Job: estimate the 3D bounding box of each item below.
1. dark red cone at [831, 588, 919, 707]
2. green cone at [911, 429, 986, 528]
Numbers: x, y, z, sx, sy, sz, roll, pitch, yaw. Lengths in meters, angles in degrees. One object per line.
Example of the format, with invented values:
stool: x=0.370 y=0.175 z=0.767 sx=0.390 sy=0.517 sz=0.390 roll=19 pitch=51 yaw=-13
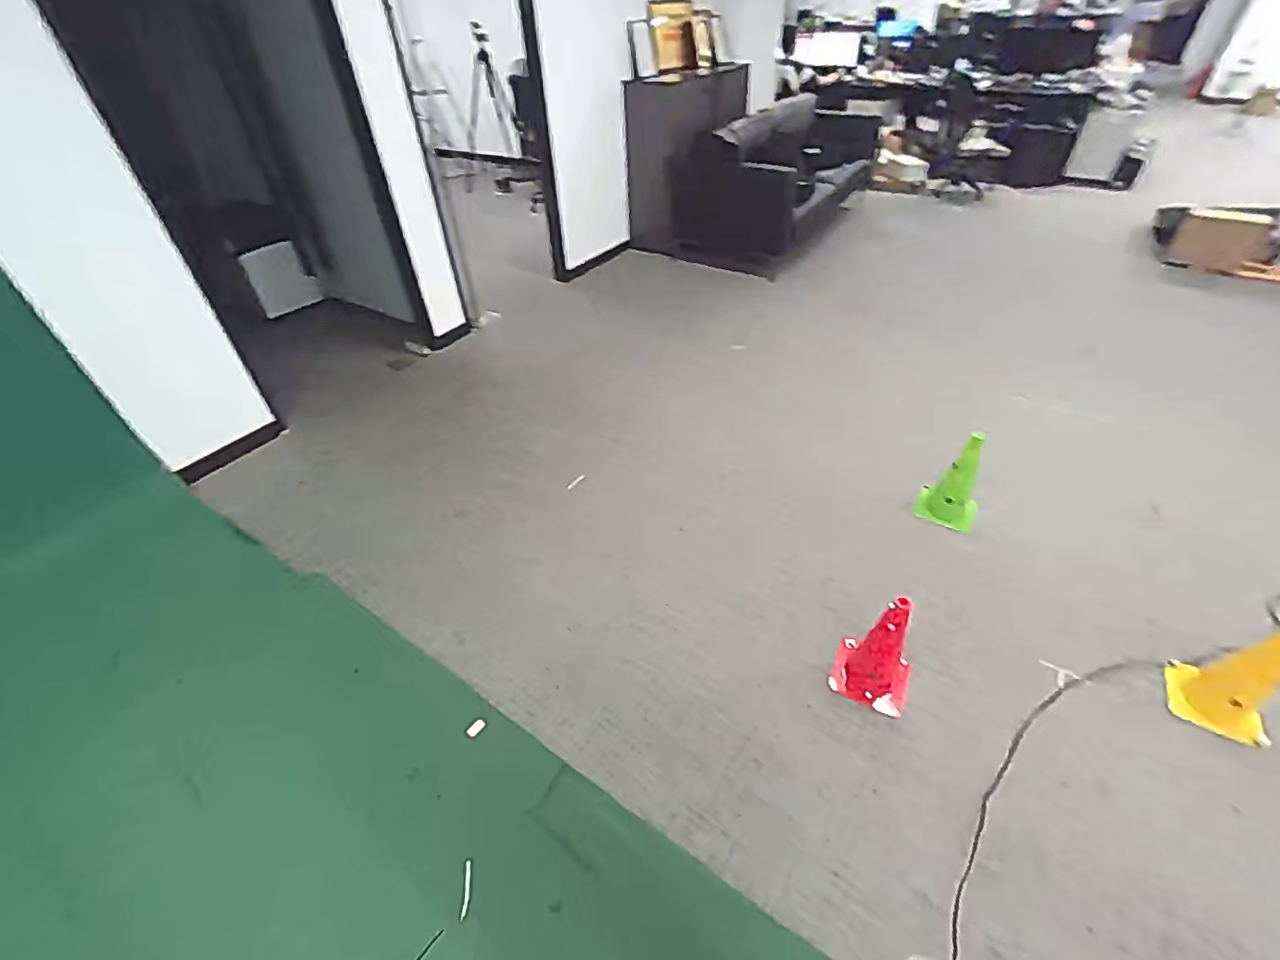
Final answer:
dark red cone: x=0.667 y=0.419 z=1.456 sx=0.202 sy=0.394 sz=0.201 roll=18 pitch=47 yaw=22
green cone: x=1.165 y=-0.031 z=1.973 sx=0.202 sy=0.368 sz=0.200 roll=22 pitch=48 yaw=24
